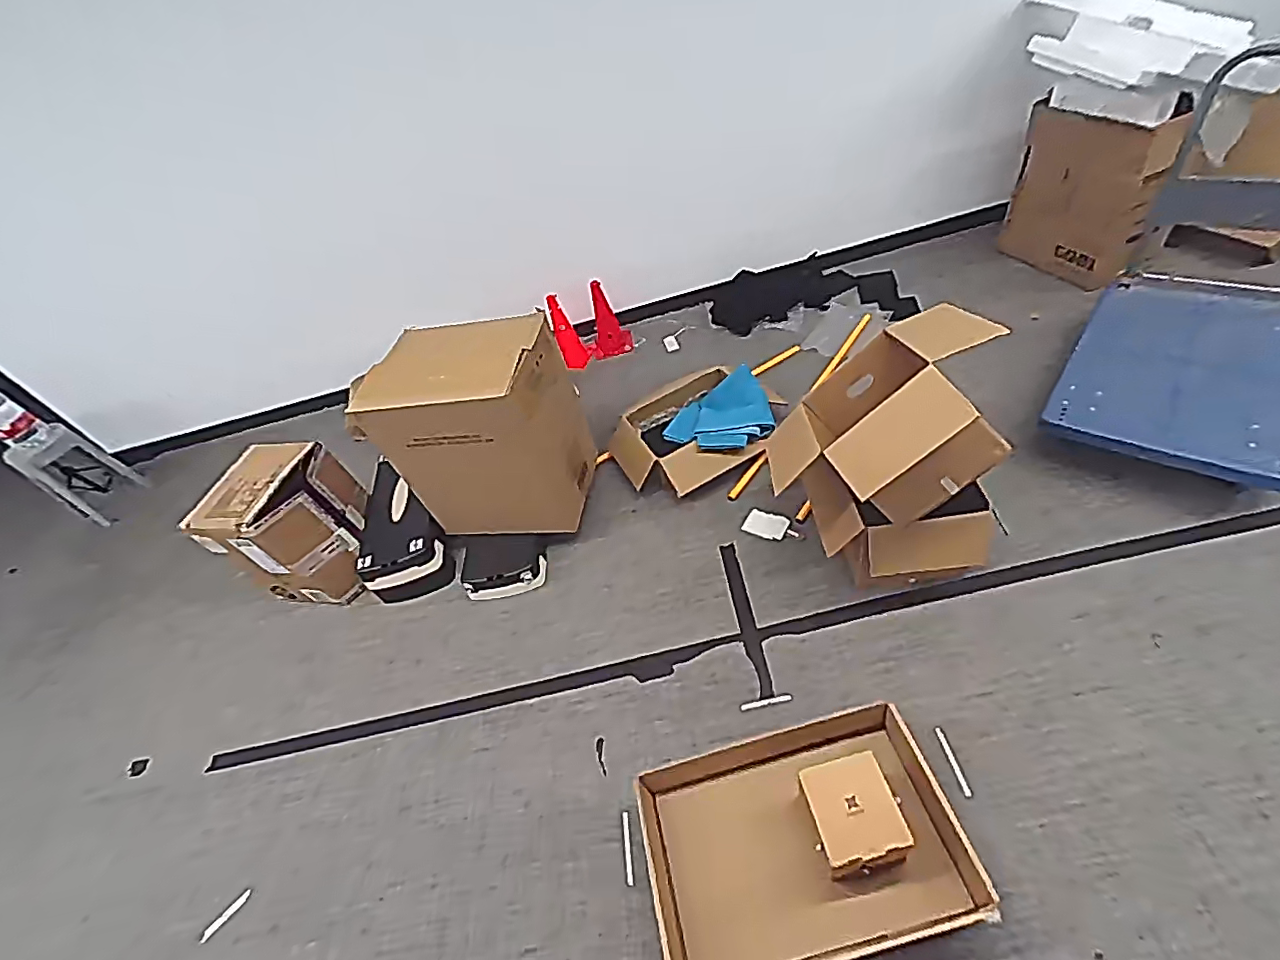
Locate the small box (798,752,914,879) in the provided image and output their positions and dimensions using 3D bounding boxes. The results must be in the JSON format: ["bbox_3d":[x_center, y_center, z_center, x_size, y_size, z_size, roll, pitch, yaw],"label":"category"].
[{"bbox_3d":[0.444,0.709,1.142,0.168,0.176,0.179,-18,45,2],"label":"small box"}]
